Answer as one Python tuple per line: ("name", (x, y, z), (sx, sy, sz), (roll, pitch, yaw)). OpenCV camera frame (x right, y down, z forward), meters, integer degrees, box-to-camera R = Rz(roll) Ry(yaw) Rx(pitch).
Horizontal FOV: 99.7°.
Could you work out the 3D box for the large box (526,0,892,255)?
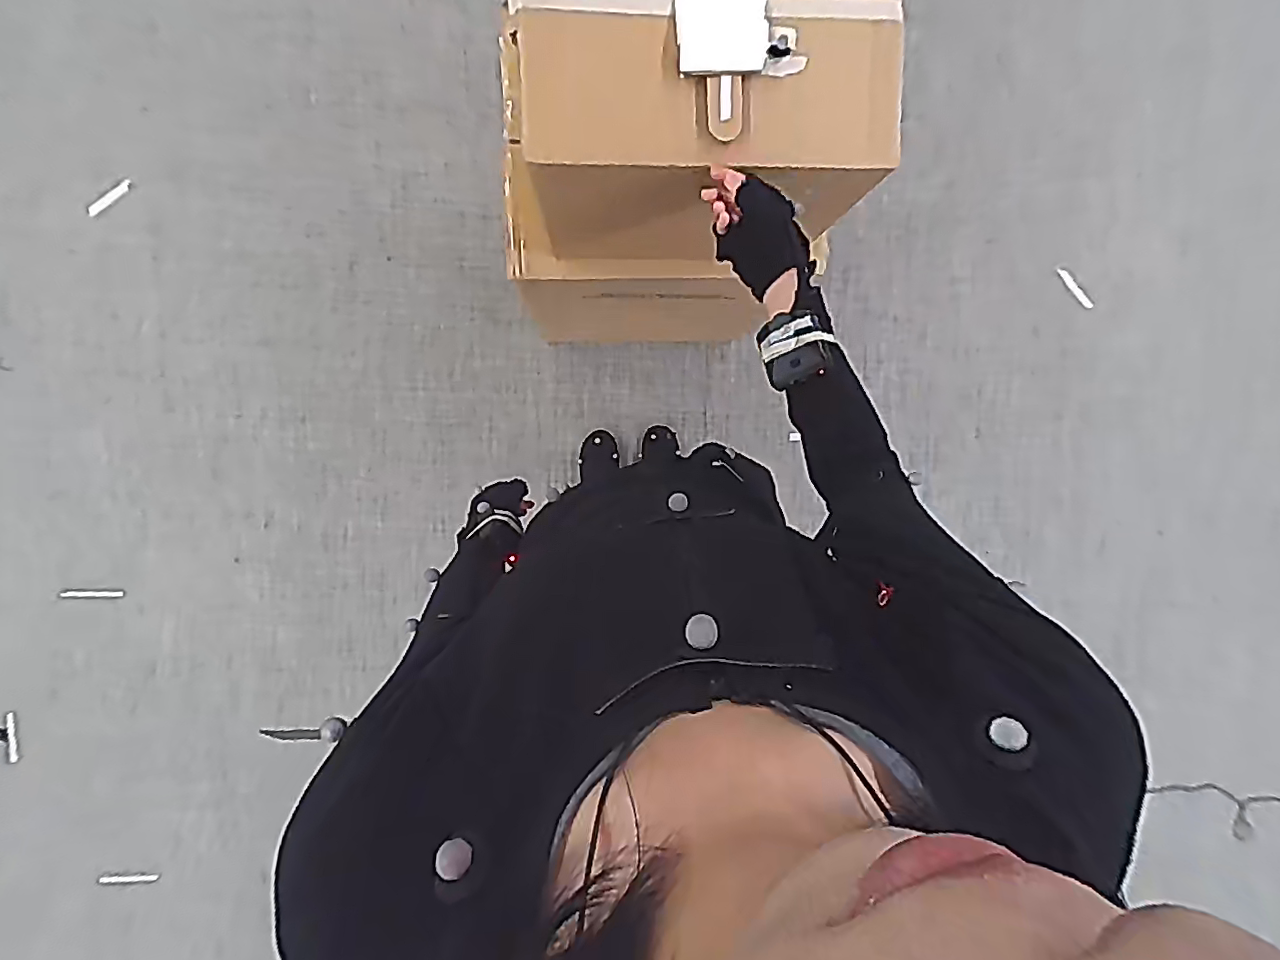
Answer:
("large box", (0.064, -0.511, 0.724), (0.408, 0.320, 0.320), (-2, 95, -5))
